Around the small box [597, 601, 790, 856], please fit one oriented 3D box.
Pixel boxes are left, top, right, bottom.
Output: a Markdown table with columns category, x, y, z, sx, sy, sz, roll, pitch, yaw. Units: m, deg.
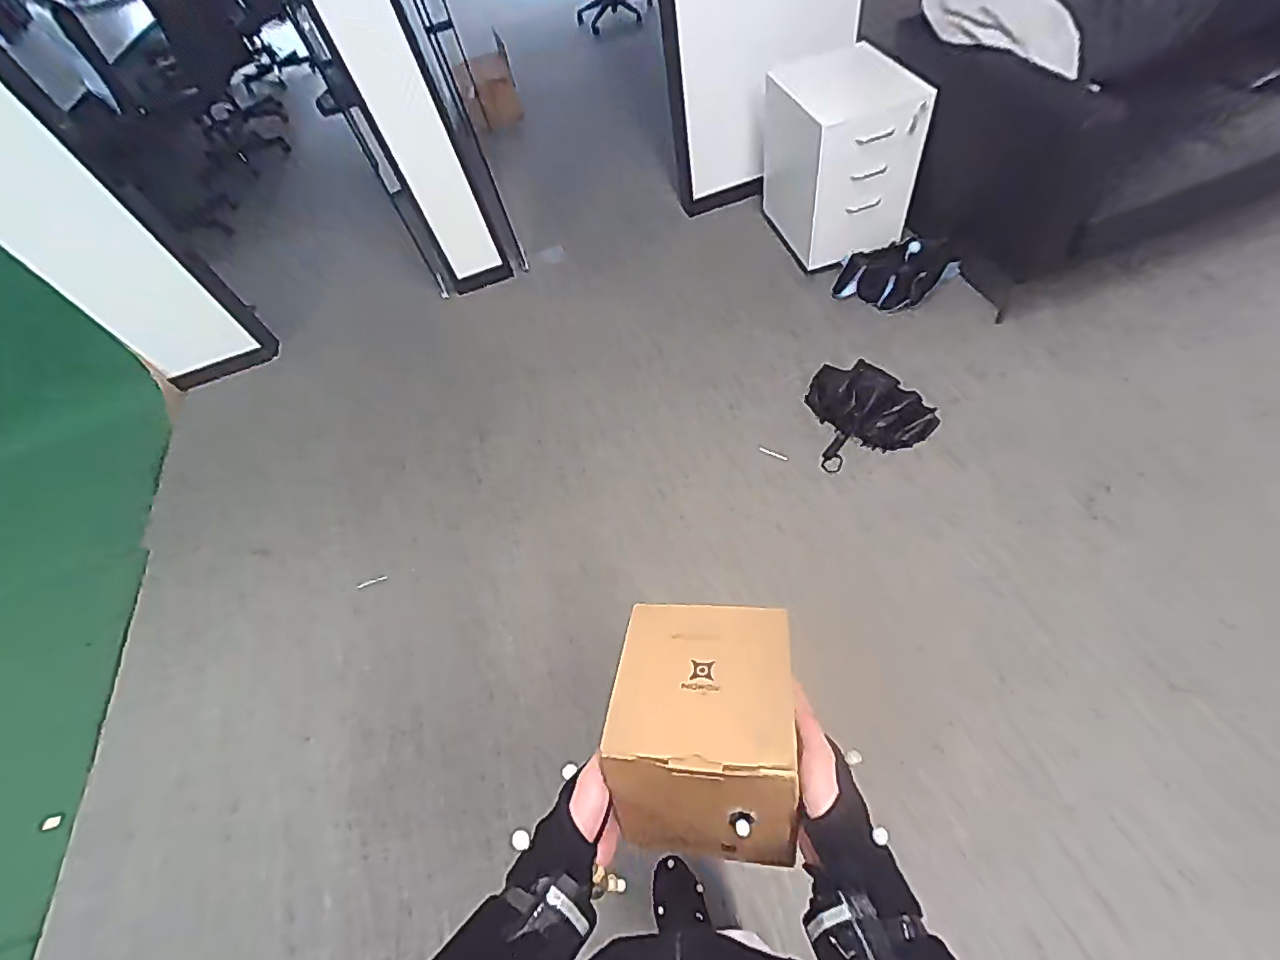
| category | x | y | z | sx | sy | sz | roll | pitch | yaw |
| --- | --- | --- | --- | --- | --- | --- | --- | --- | --- |
| small box | 0.065 | 0.248 | 0.554 | 0.168 | 0.176 | 0.179 | 0 | 32 | 11 |
